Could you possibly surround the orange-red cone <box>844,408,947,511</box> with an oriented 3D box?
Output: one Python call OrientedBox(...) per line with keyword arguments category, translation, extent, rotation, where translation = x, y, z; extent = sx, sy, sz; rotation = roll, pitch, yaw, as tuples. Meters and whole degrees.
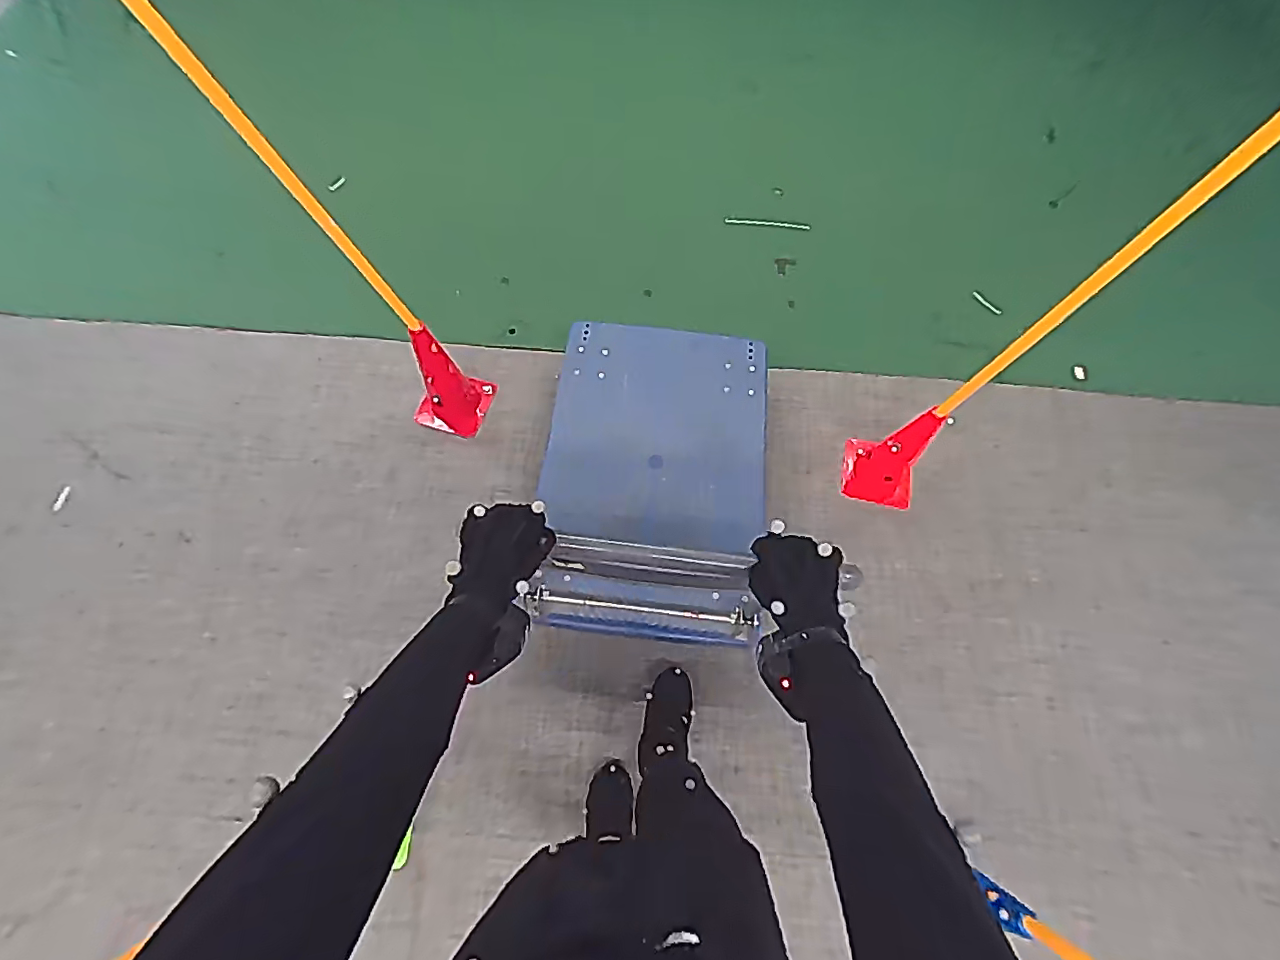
OrientedBox(category="orange-red cone", translation=(0.712, -0.084, 1.444), extent=(0.198, 0.360, 0.199), rotation=(14, 67, 5))
